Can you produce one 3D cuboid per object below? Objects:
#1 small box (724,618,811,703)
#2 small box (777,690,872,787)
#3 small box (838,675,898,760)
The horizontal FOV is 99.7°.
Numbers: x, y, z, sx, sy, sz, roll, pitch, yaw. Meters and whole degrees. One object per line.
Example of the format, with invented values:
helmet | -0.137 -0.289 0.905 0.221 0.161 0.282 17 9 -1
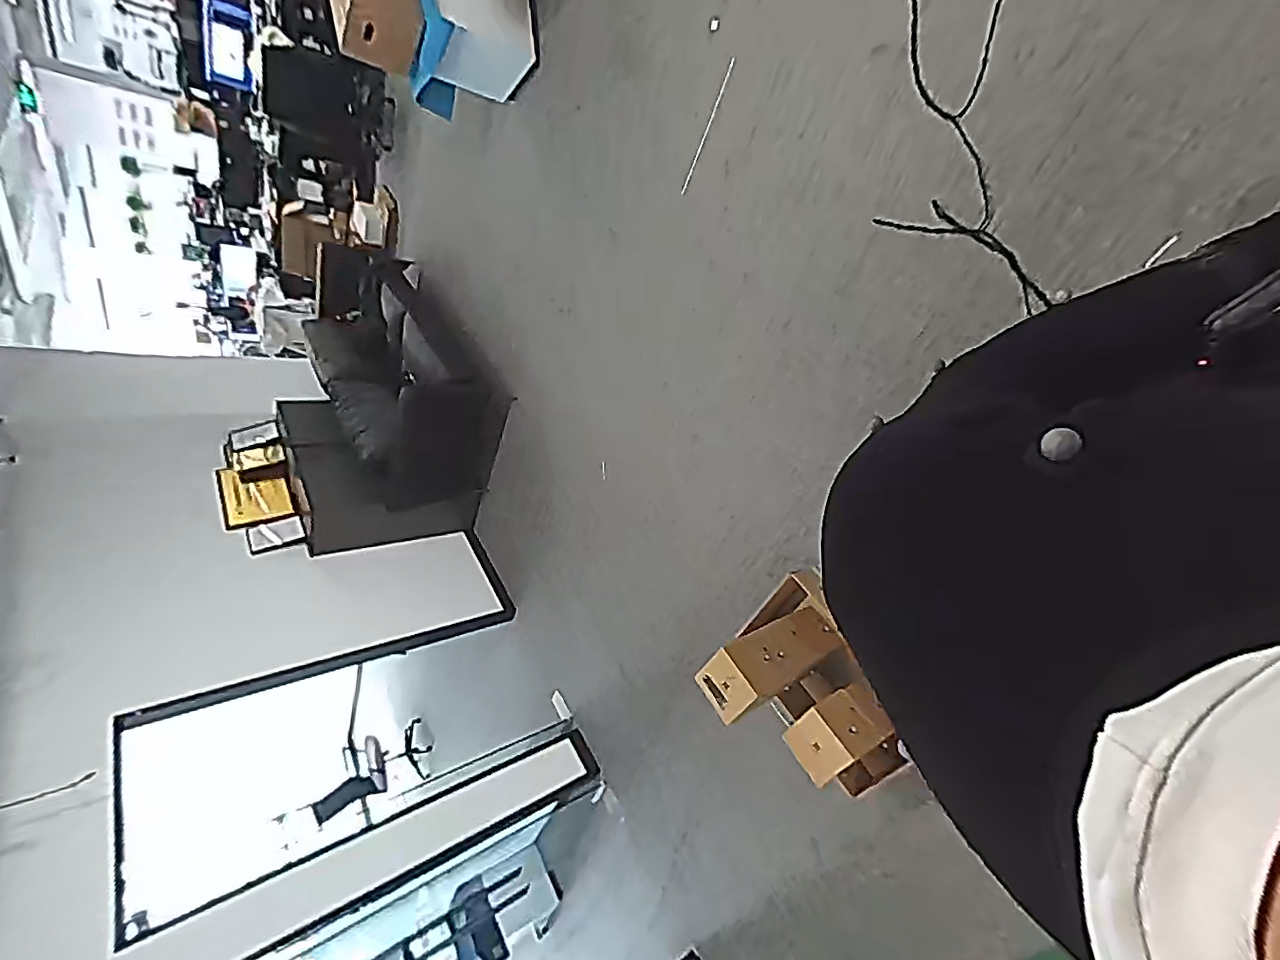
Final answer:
small box | 0.408 0.568 1.717 0.168 0.176 0.179 51 130 30
small box | 0.544 0.748 1.579 0.168 0.176 0.179 51 131 33
small box | 0.669 0.738 1.681 0.168 0.176 0.179 53 131 32
